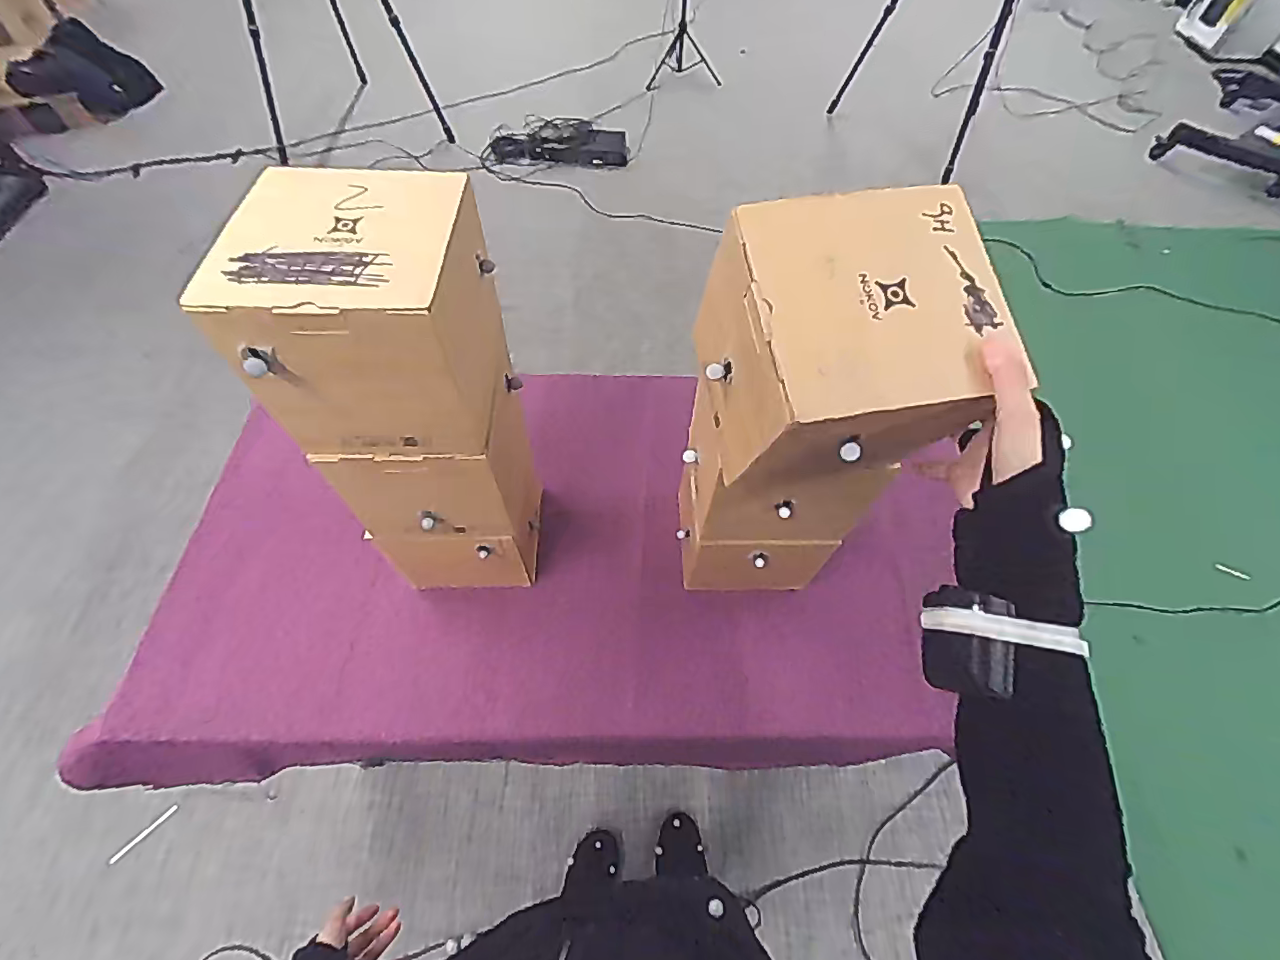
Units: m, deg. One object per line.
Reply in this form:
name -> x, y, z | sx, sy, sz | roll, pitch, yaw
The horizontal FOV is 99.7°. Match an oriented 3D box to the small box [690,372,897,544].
small box -> 0.157, -0.035, 0.619 | 0.179, 0.176, 0.168 | -1, 59, -1

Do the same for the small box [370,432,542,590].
small box -> -0.239, 0.048, 0.752 | 0.179, 0.176, 0.168 | -1, 57, -3

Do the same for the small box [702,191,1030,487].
small box -> 0.155, -0.100, 0.444 | 0.179, 0.176, 0.168 | -9, 76, -6

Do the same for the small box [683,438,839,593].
small box -> 0.153, 0.053, 0.757 | 0.179, 0.176, 0.168 | 1, 58, -2

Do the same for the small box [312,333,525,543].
small box -> -0.228, -0.044, 0.614 | 0.168, 0.176, 0.179 | -1, 57, -2
